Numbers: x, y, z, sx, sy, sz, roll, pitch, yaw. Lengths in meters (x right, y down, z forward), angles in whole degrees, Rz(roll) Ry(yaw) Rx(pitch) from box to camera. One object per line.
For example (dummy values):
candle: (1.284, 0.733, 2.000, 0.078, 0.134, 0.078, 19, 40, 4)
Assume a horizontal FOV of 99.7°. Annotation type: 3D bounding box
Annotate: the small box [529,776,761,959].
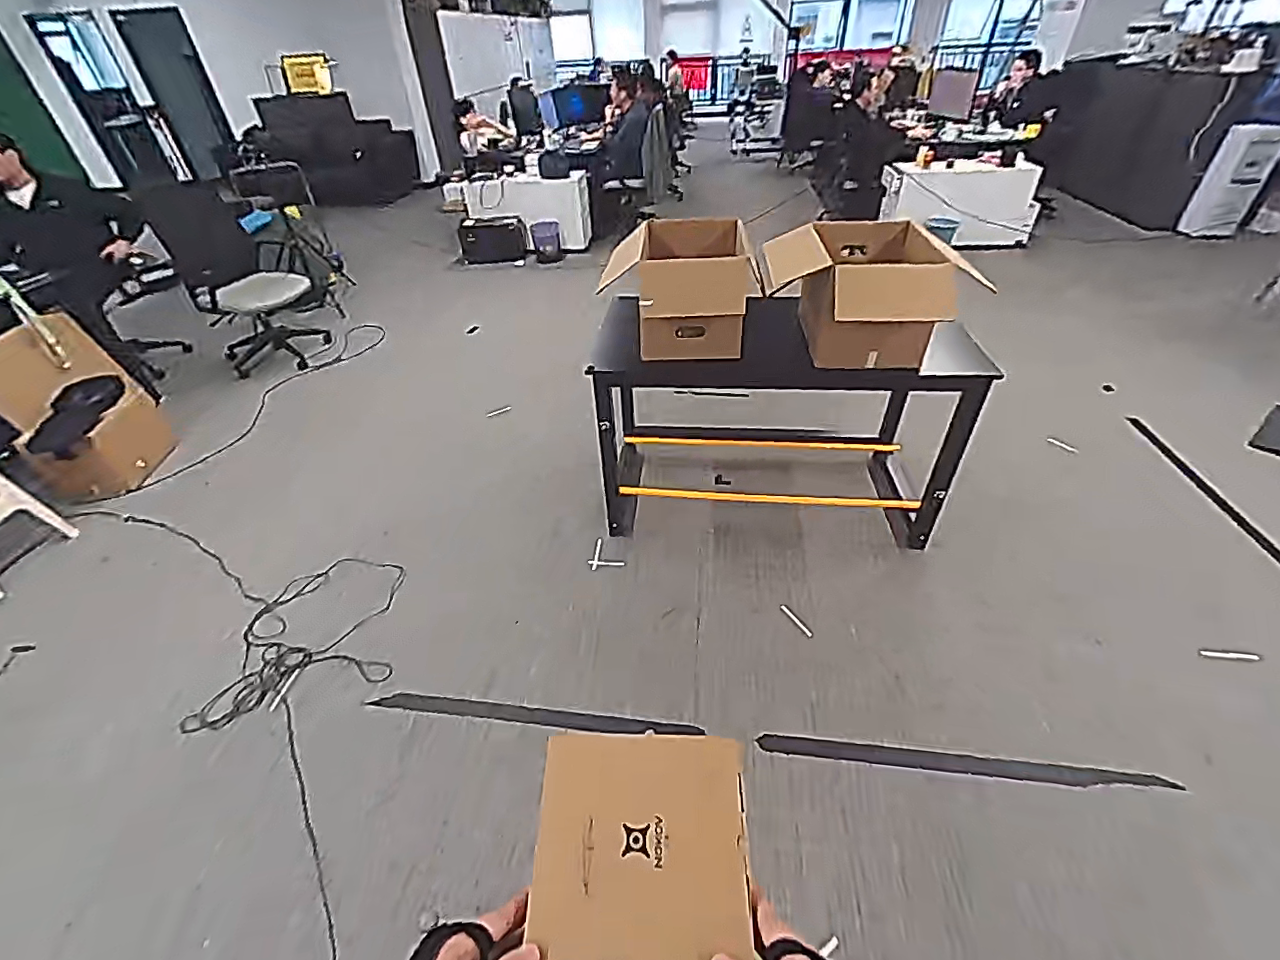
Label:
small box: (0.006, 0.379, 0.488, 0.179, 0.176, 0.168, -1, 48, 2)
